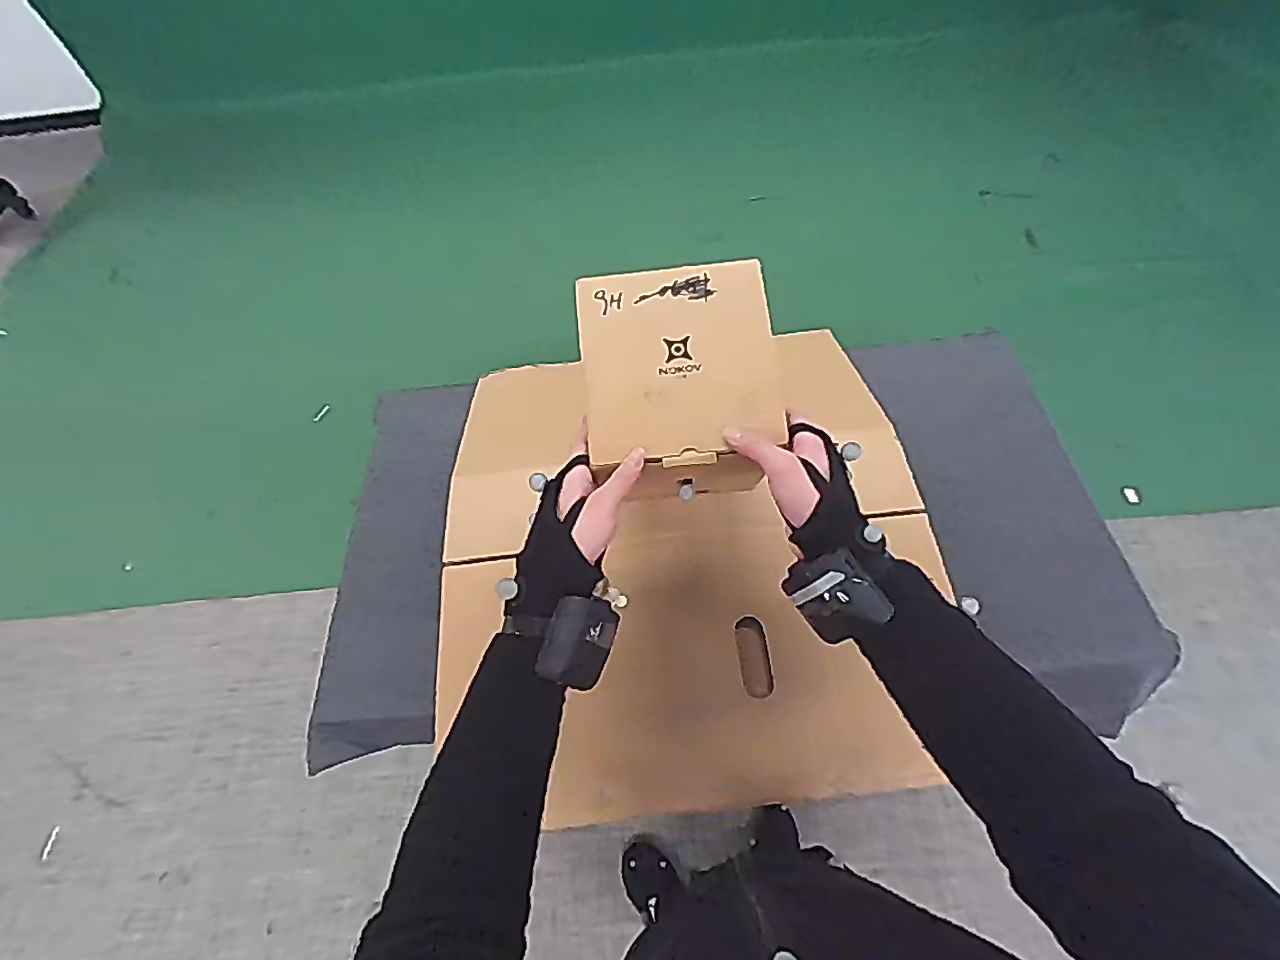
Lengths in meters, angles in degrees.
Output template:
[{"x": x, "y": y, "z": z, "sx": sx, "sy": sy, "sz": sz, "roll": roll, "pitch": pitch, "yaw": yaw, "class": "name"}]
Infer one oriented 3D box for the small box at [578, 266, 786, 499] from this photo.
[{"x": 0.039, "y": -0.082, "z": 0.550, "sx": 0.168, "sy": 0.176, "sz": 0.179, "roll": -8, "pitch": 76, "yaw": 2, "class": "small box"}]
